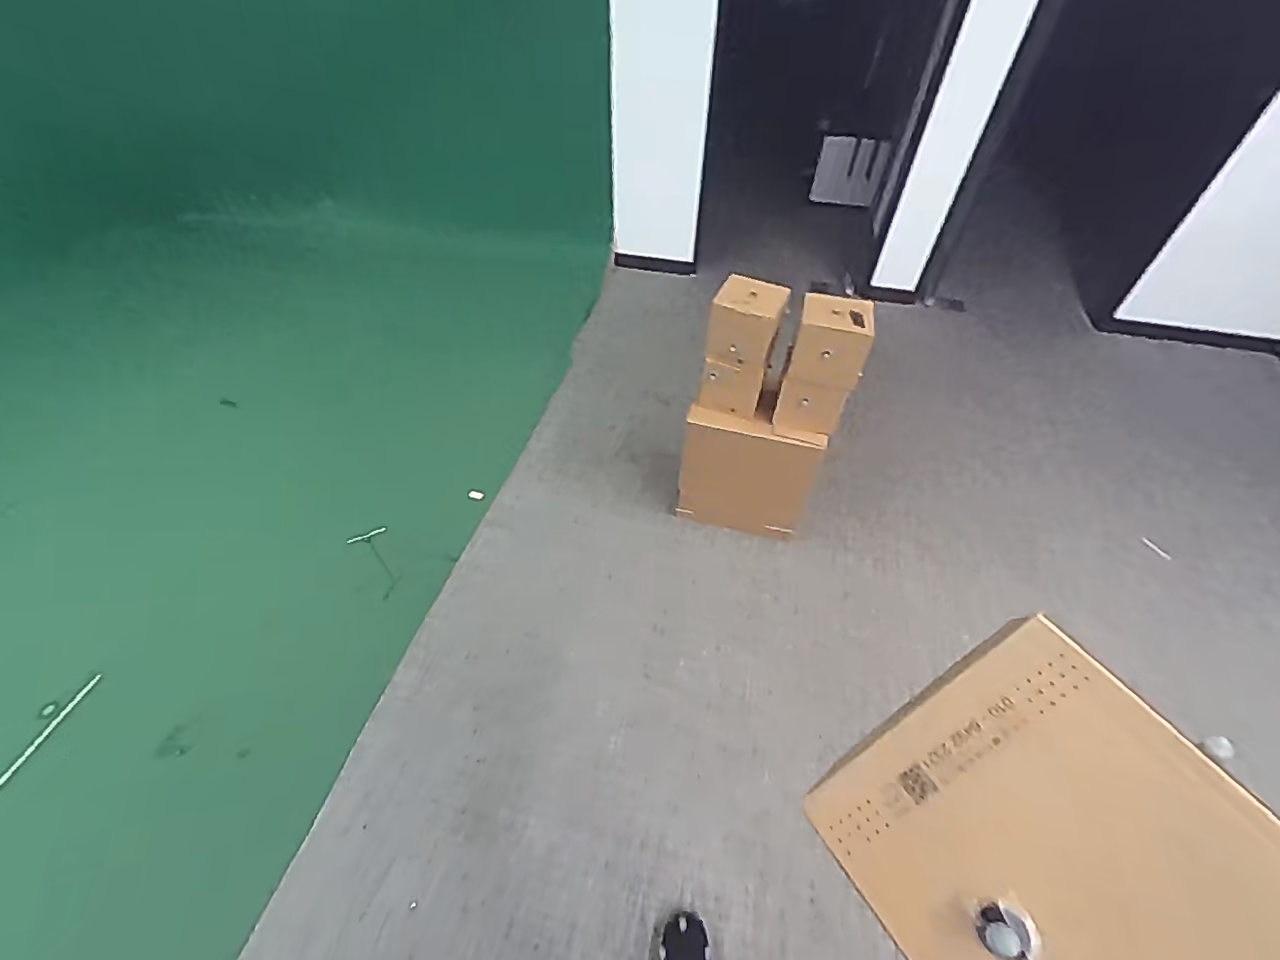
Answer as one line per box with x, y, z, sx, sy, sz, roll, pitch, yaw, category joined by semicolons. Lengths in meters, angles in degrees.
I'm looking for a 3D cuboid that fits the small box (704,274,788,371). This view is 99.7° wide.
0.284;-0.429;1.473;0.168;0.176;0.179;20;51;15;small box

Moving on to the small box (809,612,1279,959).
0.228;0.195;0.322;0.168;0.179;0.176;-45;58;13;small box
